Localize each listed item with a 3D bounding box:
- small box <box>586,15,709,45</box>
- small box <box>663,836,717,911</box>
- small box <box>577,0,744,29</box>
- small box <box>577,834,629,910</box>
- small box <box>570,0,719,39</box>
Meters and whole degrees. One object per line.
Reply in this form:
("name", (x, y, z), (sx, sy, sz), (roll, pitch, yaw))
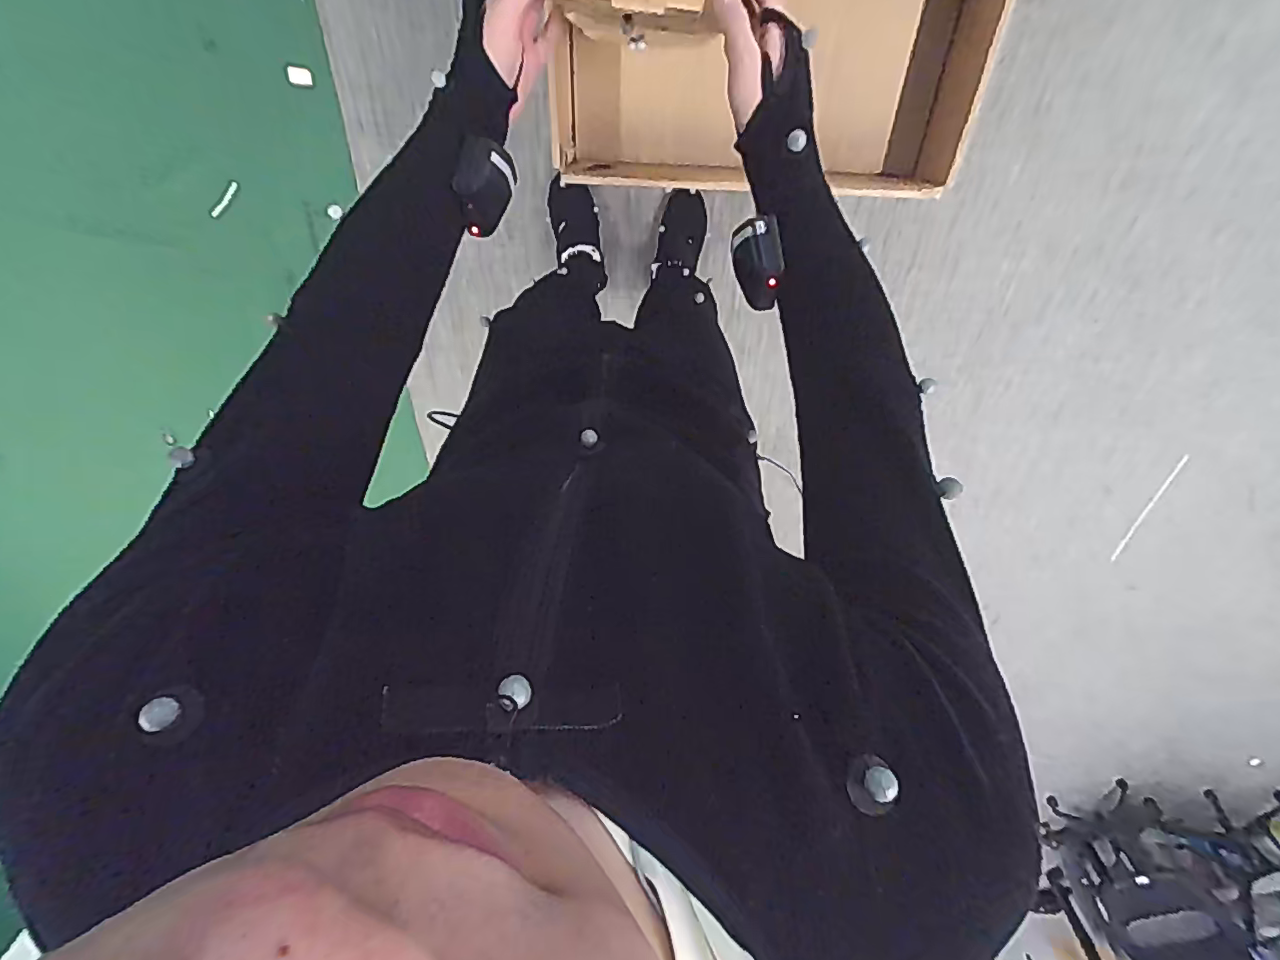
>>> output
("small box", (0.018, -0.704, 0.721), (0.168, 0.176, 0.179), (3, 126, -1))
("small box", (0.163, 1.335, 1.838), (0.168, 0.176, 0.179), (0, 127, 0))
("small box", (0.015, -0.512, 0.457), (0.168, 0.176, 0.179), (6, 126, -3))
("small box", (-0.122, 1.331, 1.837), (0.168, 0.176, 0.179), (-1, 125, 0))
("small box", (0.016, -0.607, 0.588), (0.168, 0.176, 0.179), (6, 126, -2))
